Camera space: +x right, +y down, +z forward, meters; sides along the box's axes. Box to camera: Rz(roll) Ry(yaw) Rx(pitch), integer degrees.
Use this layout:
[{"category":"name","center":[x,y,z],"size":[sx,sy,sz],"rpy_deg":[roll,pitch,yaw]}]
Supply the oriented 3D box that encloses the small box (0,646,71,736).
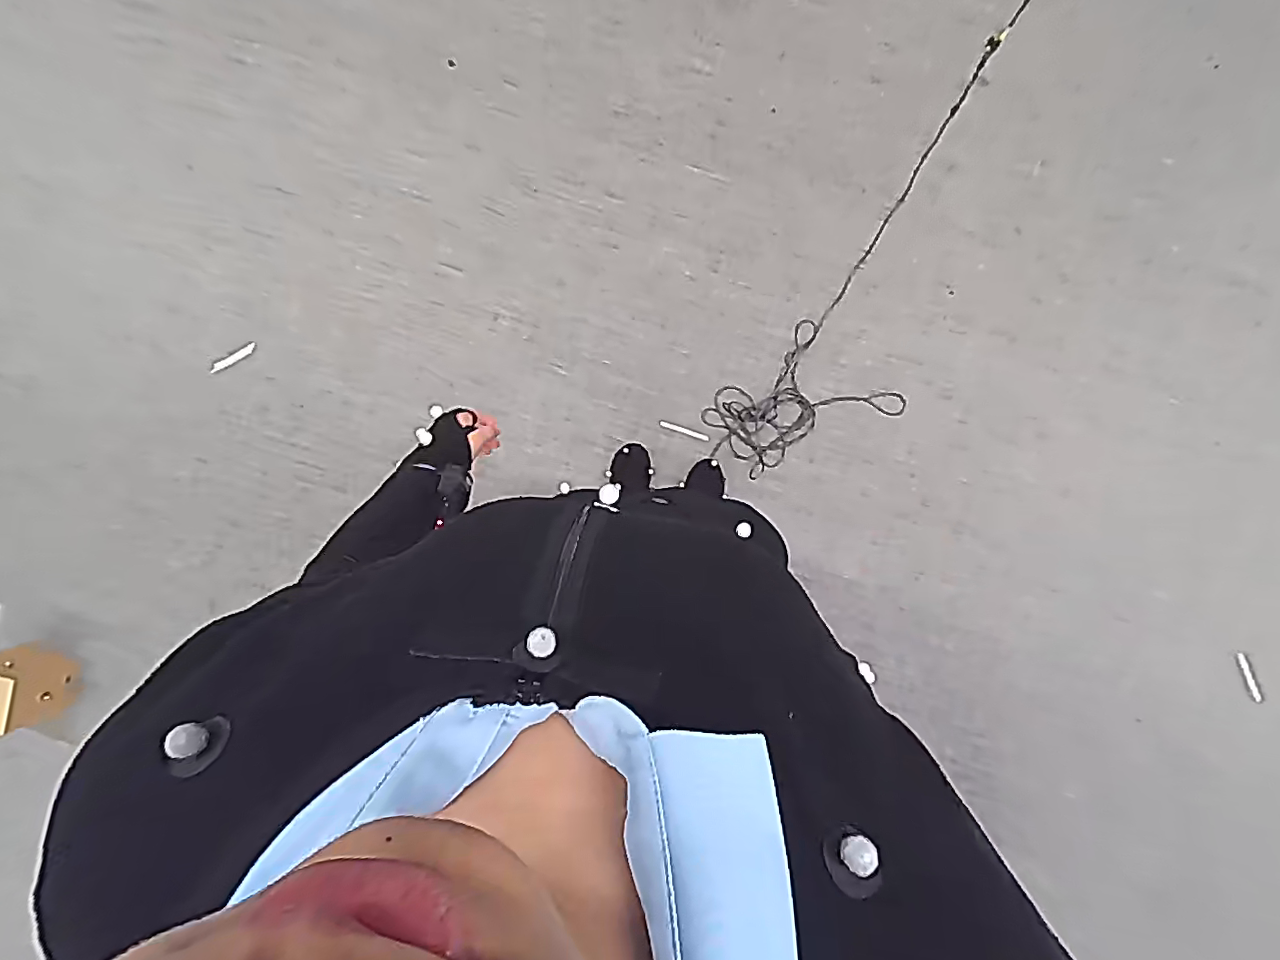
[{"category":"small box","center":[-1.820,0.601,1.563],"size":[0.179,0.176,0.168],"rpy_deg":[16,93,3]}]
